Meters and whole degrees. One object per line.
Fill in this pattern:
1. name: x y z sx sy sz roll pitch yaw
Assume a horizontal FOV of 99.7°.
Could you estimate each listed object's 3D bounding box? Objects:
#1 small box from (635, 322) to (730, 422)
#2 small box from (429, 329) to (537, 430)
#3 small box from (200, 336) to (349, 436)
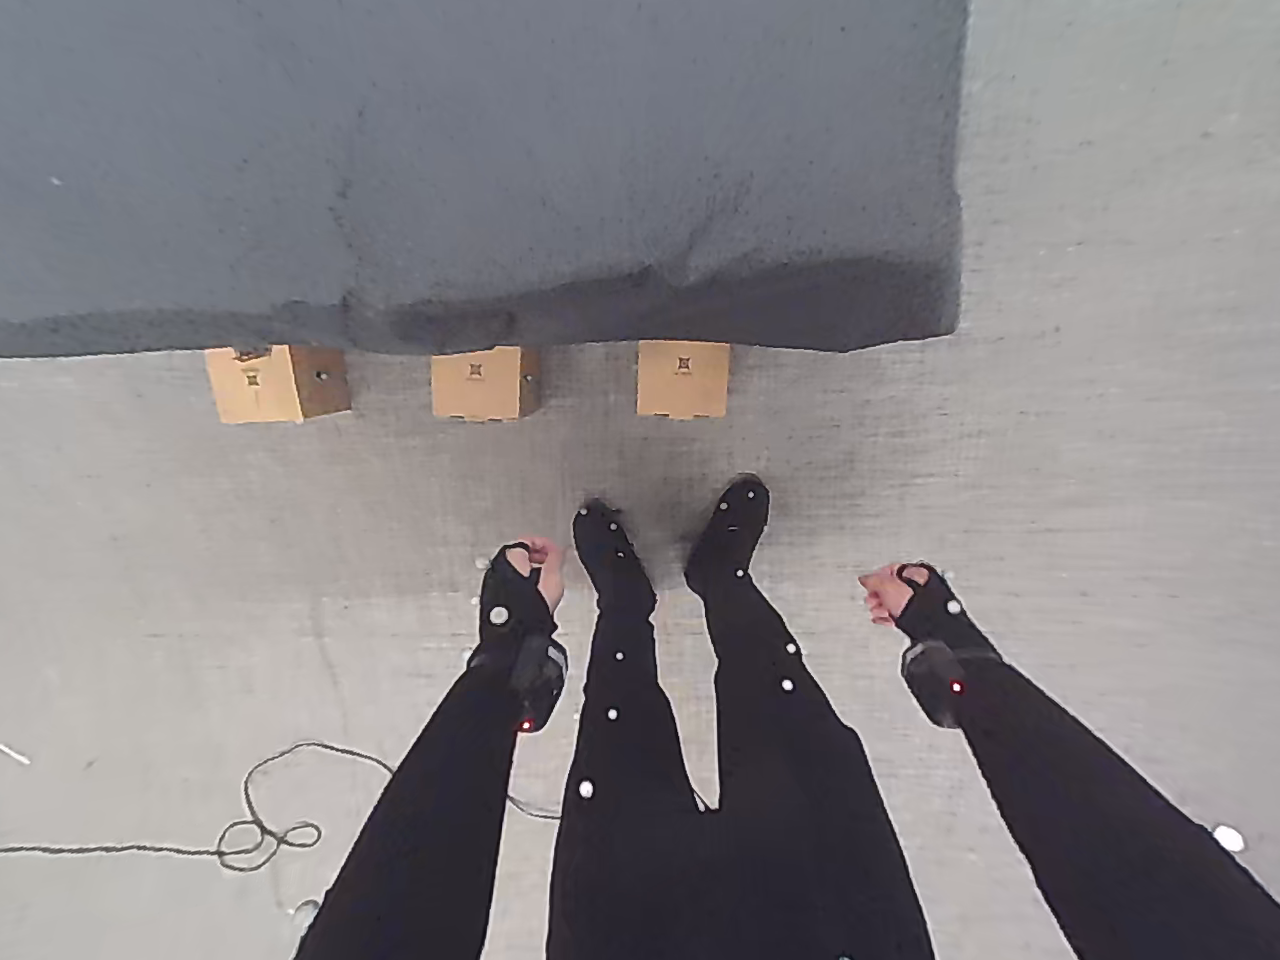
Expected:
1. small box: 0.079 -0.210 1.049 0.168 0.176 0.179 1 102 2
2. small box: -0.300 -0.199 1.064 0.168 0.176 0.179 2 102 0
3. small box: -0.714 -0.189 1.077 0.168 0.176 0.179 -3 104 3
